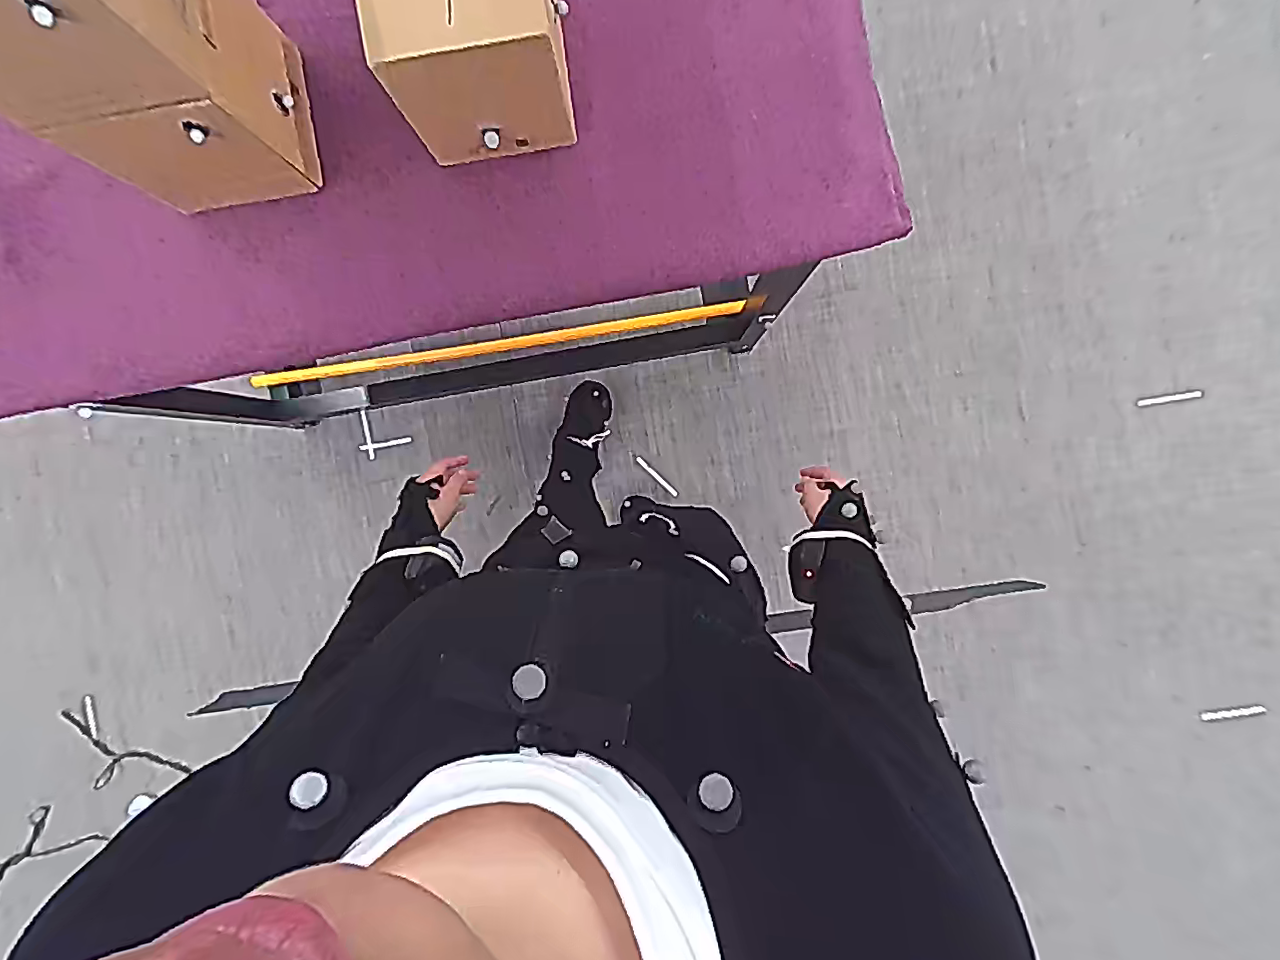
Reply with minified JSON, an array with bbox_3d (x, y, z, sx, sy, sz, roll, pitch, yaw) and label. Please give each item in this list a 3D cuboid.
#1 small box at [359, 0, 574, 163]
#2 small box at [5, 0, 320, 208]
[{"bbox_3d":[-0.167,-0.464,0.551,0.168,0.176,0.179,-7,92,2],"label":"small box"},{"bbox_3d":[-0.476,-0.410,0.562,0.179,0.176,0.168,-9,91,1],"label":"small box"}]
